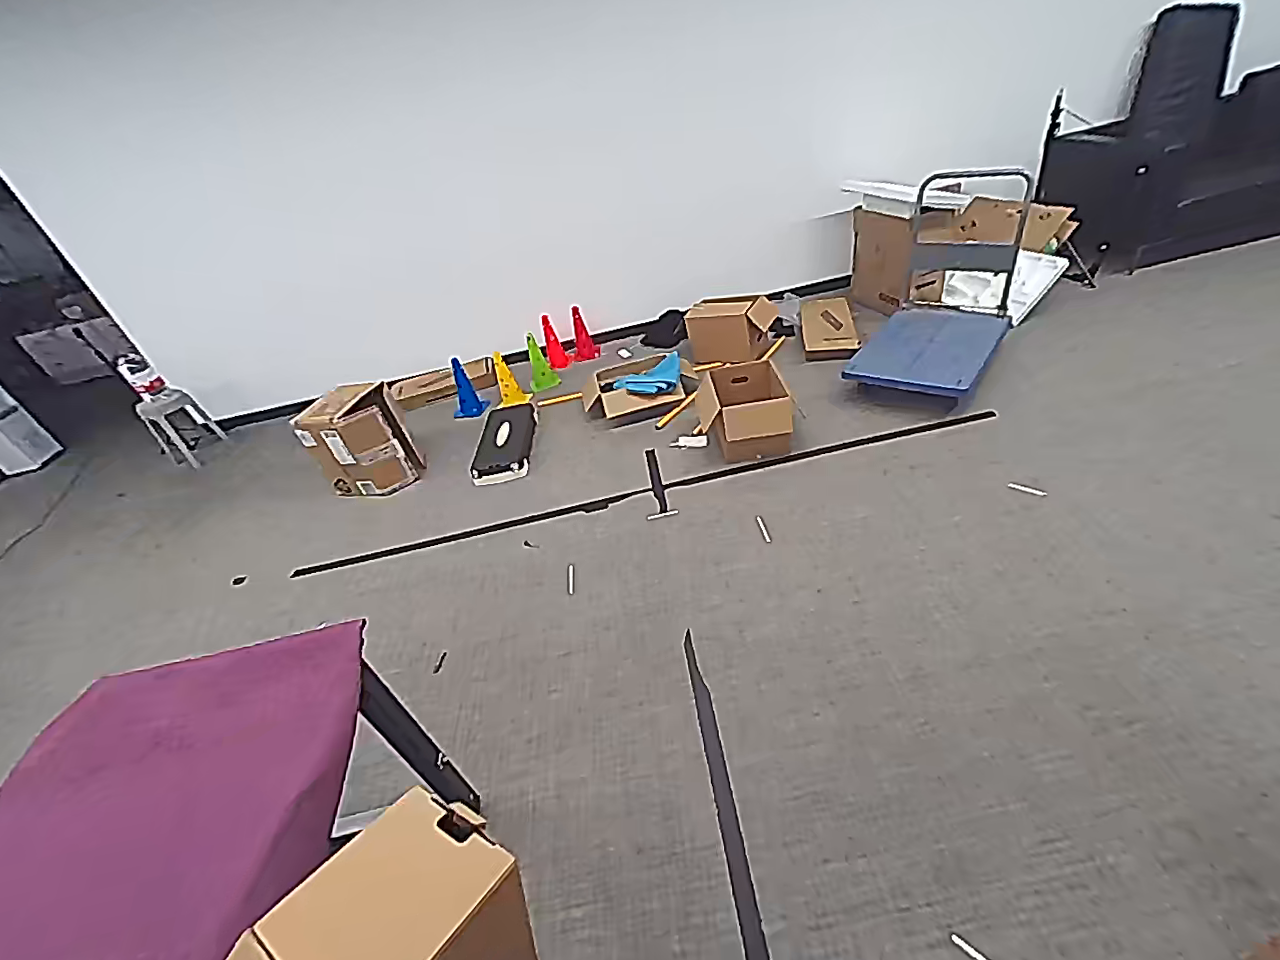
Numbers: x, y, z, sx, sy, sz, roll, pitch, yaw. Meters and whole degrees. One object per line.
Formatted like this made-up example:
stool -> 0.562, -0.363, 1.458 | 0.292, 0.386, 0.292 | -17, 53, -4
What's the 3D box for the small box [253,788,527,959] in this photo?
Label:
small box -> -0.232, 0.466, 0.535 | 0.168, 0.176, 0.179 | 11, 24, 33
